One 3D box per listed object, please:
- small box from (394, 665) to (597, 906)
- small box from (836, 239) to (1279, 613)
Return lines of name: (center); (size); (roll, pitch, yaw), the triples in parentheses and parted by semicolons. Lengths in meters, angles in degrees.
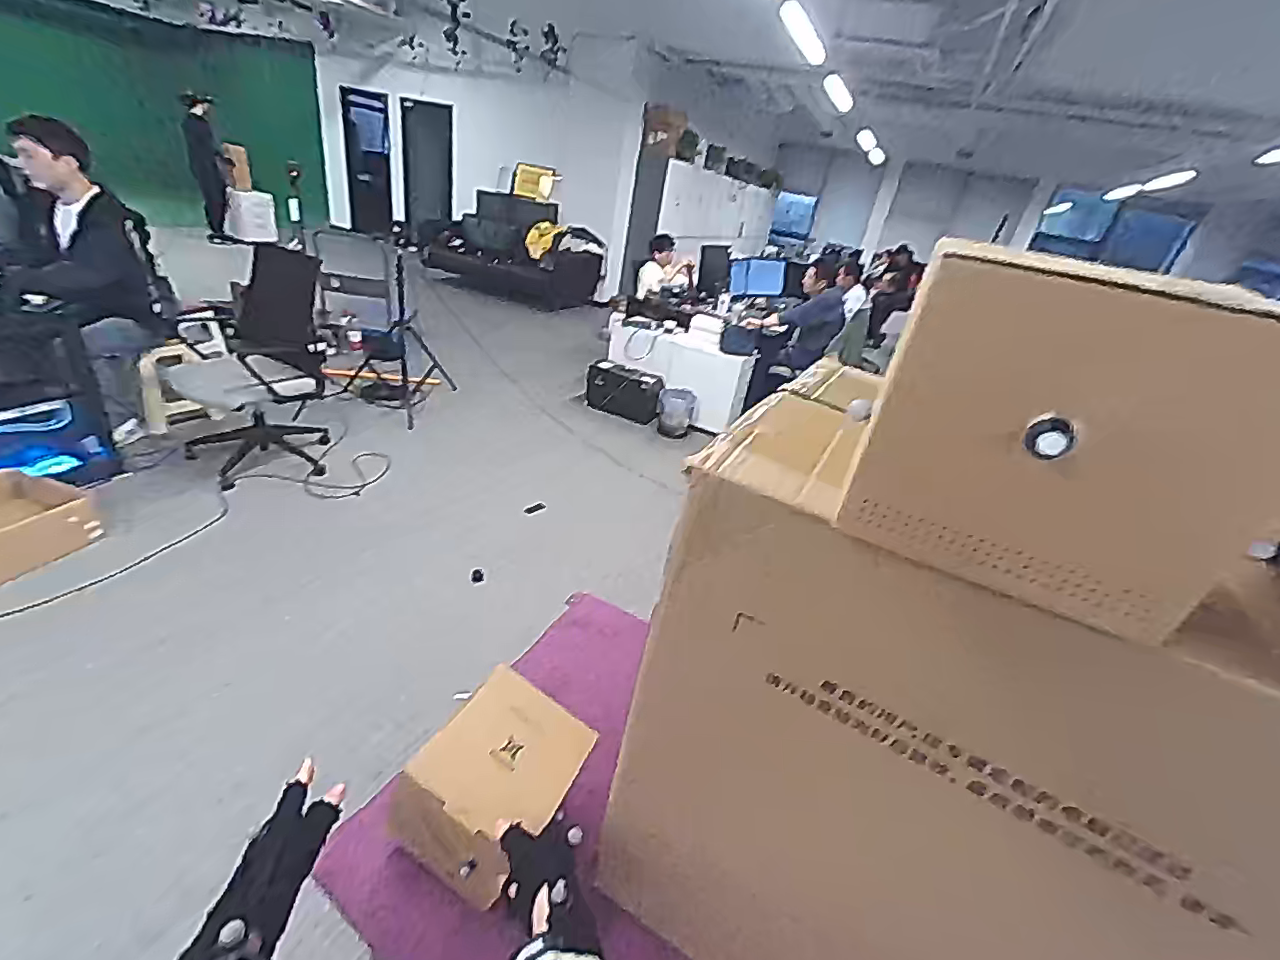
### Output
small box: (-0.185, 0.383, 0.683); (0.168, 0.176, 0.179); (34, 32, 7)
small box: (0.246, -0.044, 0.340); (0.179, 0.176, 0.168); (20, 30, 20)
